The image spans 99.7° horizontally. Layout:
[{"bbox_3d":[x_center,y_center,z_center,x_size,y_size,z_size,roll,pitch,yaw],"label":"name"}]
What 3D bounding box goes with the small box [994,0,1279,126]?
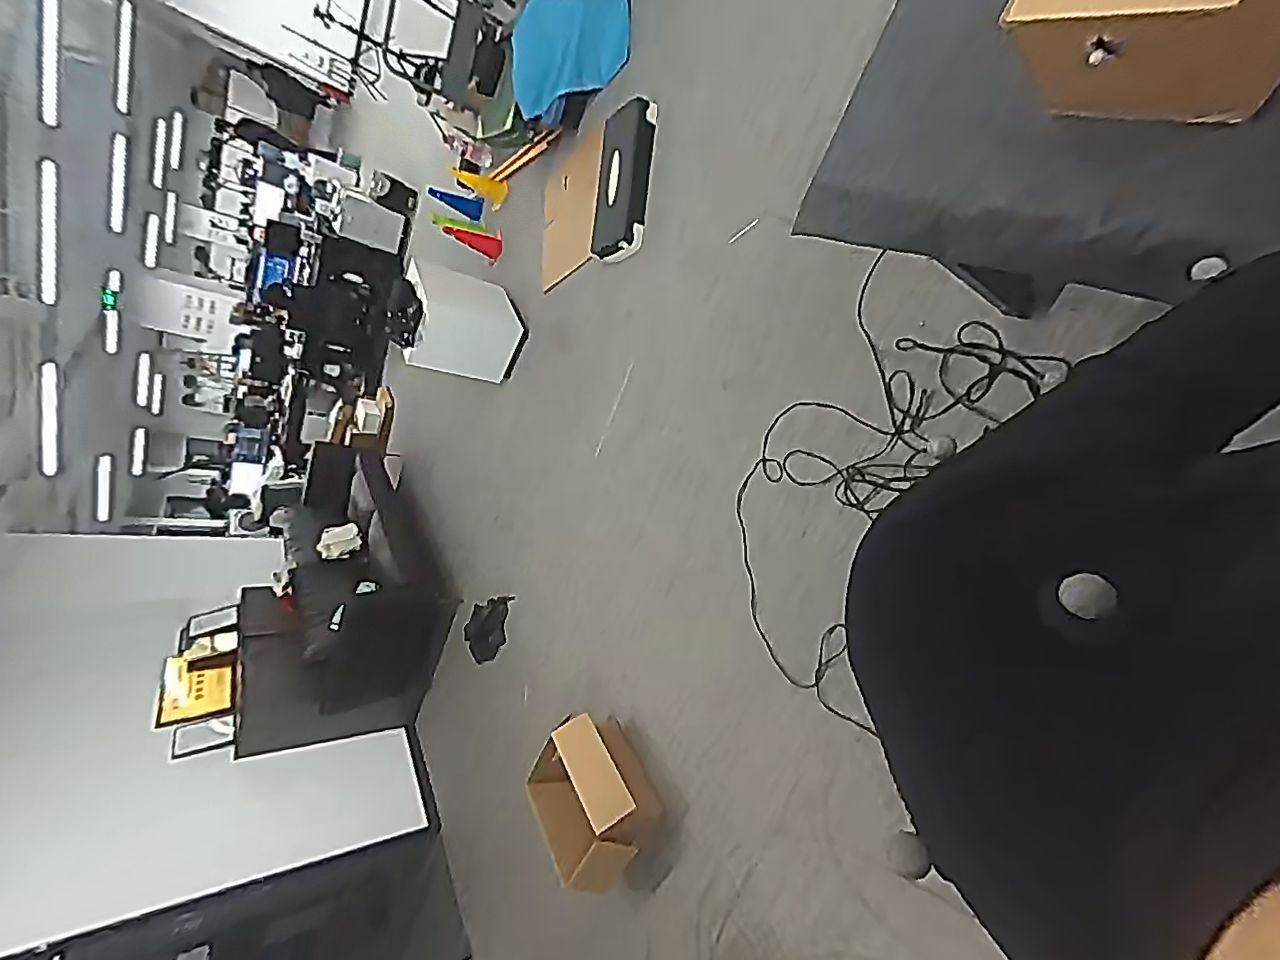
[{"bbox_3d":[0.456,-0.428,0.454,0.179,0.176,0.168,46,120,43],"label":"small box"}]
